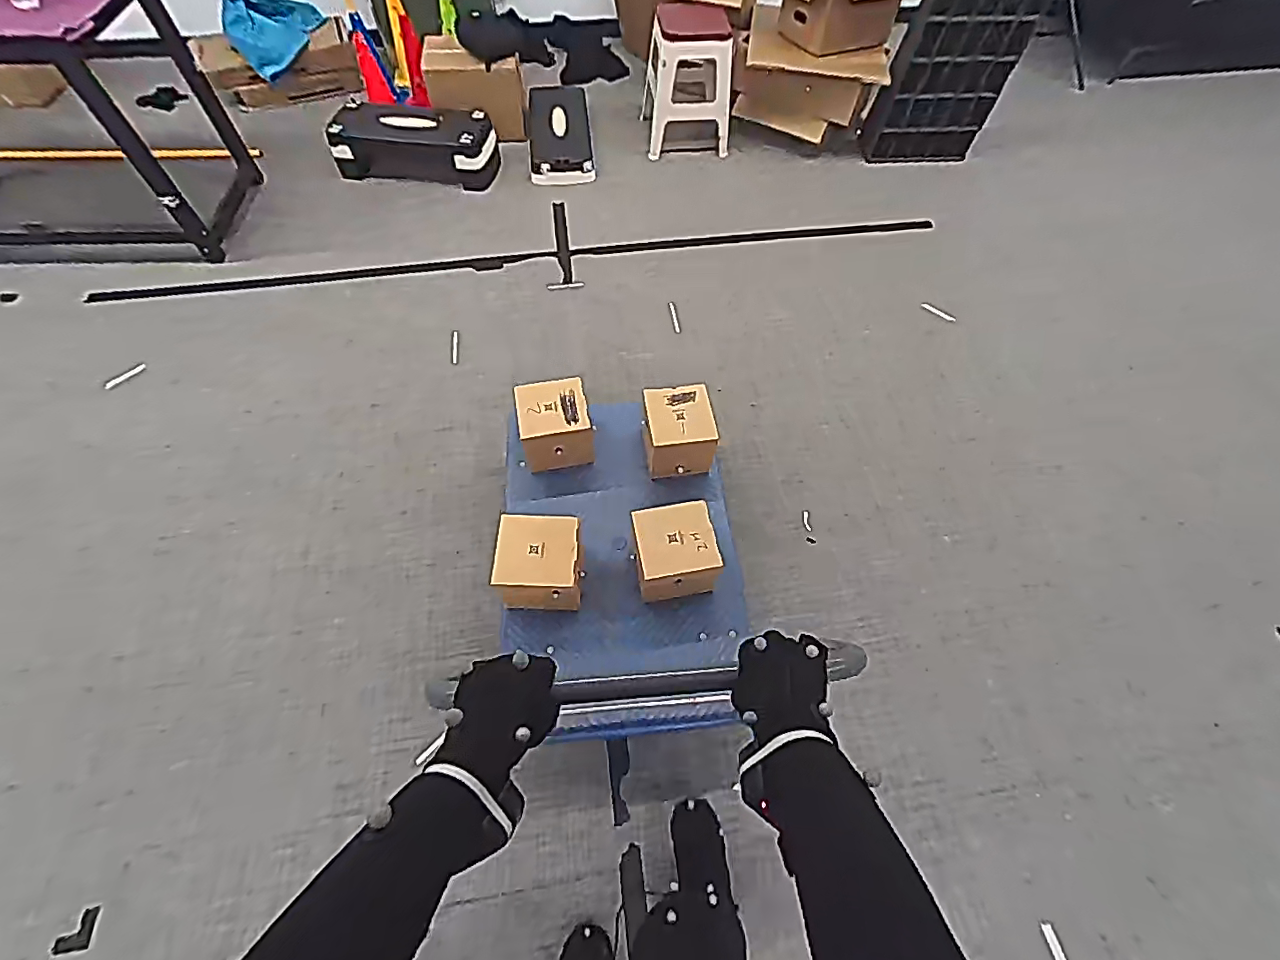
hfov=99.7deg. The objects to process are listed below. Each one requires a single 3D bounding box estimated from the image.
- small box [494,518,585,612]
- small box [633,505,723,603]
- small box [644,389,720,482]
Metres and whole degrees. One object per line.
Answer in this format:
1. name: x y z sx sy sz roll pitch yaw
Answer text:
1. small box: -0.223 0.199 1.244 0.179 0.176 0.168 3 60 -2
2. small box: 0.081 0.178 1.265 0.179 0.176 0.168 -8 61 -6
3. small box: 0.104 -0.116 1.431 0.168 0.176 0.179 -6 62 -5
